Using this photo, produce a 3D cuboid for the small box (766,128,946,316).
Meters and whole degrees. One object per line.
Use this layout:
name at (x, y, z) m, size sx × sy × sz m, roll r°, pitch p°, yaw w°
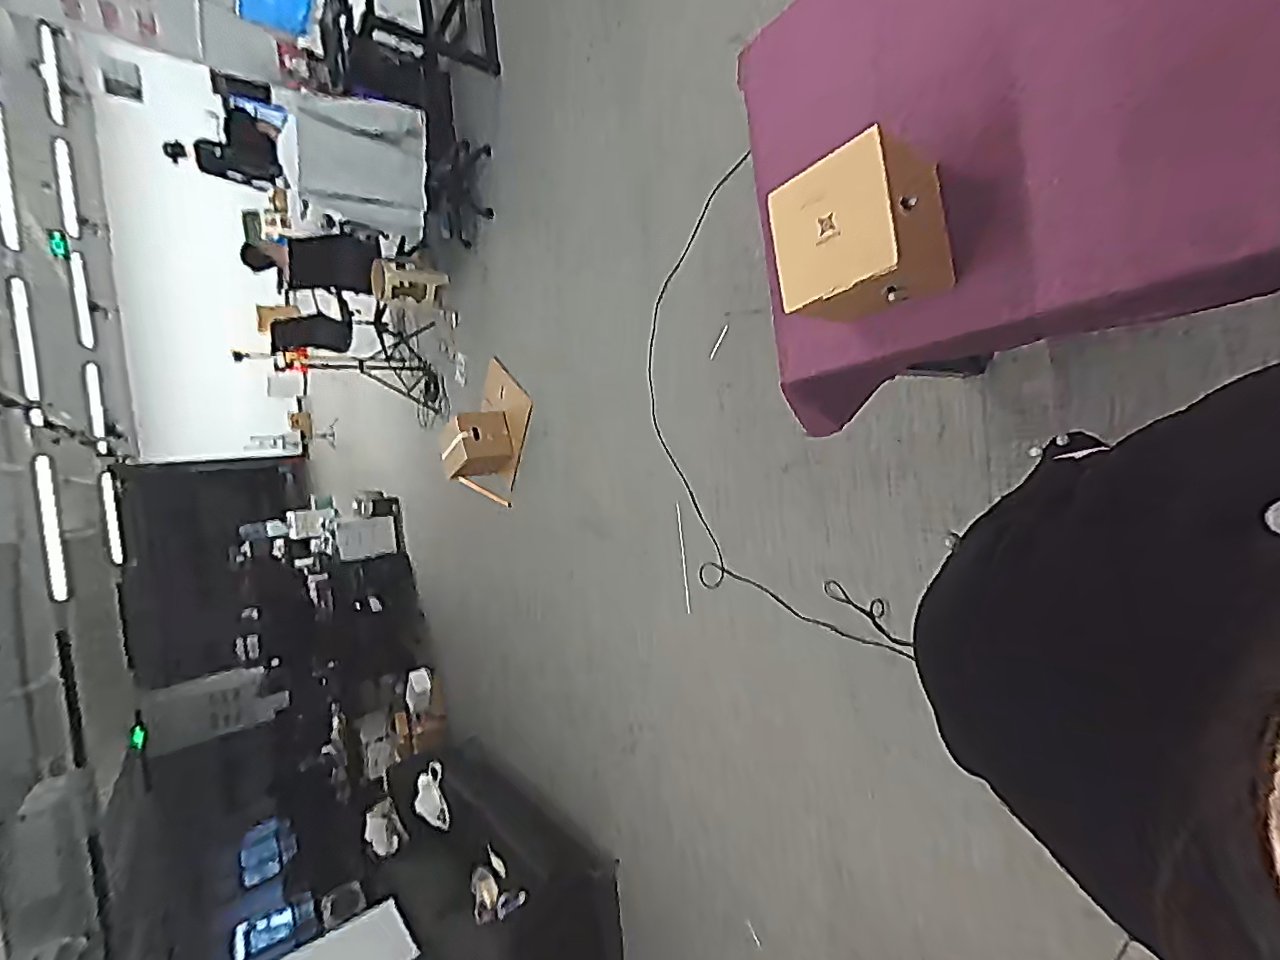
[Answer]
small box at (0.304, -0.340, 0.759) m, size 0.168 × 0.176 × 0.179 m, roll -10°, pitch 88°, yaw 50°
